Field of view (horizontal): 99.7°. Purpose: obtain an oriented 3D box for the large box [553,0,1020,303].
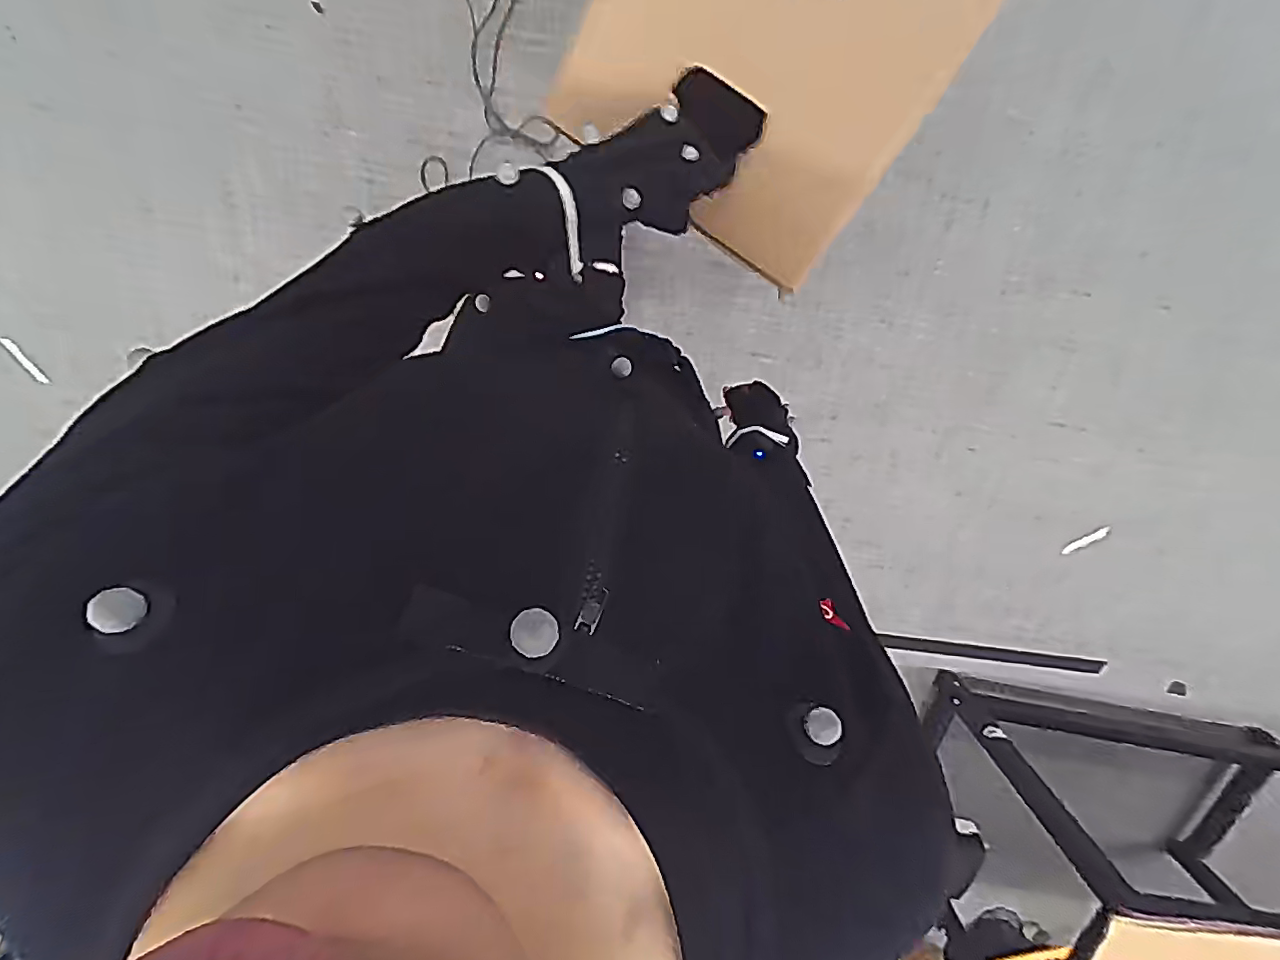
[{"bbox_3d":[0.165,-0.438,0.659,0.320,0.408,0.320,39,114,1],"label":"large box"}]
